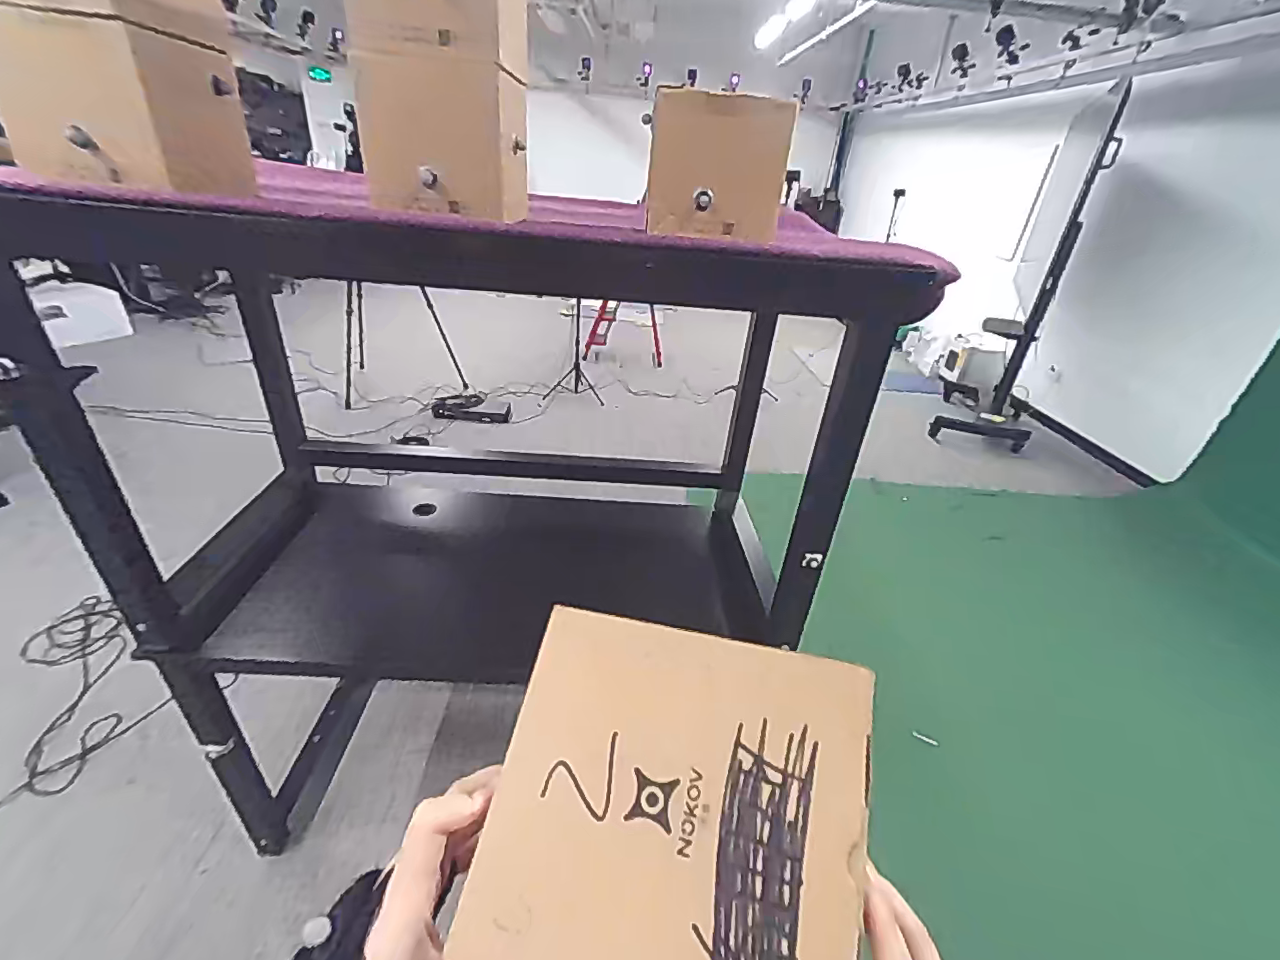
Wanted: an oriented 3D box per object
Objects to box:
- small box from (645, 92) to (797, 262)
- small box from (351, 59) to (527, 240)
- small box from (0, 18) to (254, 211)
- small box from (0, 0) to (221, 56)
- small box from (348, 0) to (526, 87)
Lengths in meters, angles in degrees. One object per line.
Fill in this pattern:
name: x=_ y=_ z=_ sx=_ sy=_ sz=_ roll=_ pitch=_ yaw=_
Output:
small box: x=0.094 y=-0.404 z=0.727 sx=0.168 sy=0.176 sz=0.179 roll=4 pitch=32 yaw=-1
small box: x=-0.243 y=-0.422 z=0.703 sx=0.168 sy=0.176 sz=0.179 roll=4 pitch=32 yaw=-3
small box: x=-0.615 y=-0.436 z=0.664 sx=0.168 sy=0.176 sz=0.179 roll=3 pitch=30 yaw=-3
small box: x=-0.599 y=-0.576 z=0.583 sx=0.168 sy=0.176 sz=0.179 roll=4 pitch=30 yaw=-1
small box: x=-0.229 y=-0.567 z=0.628 sx=0.168 sy=0.176 sz=0.179 roll=4 pitch=32 yaw=-3
